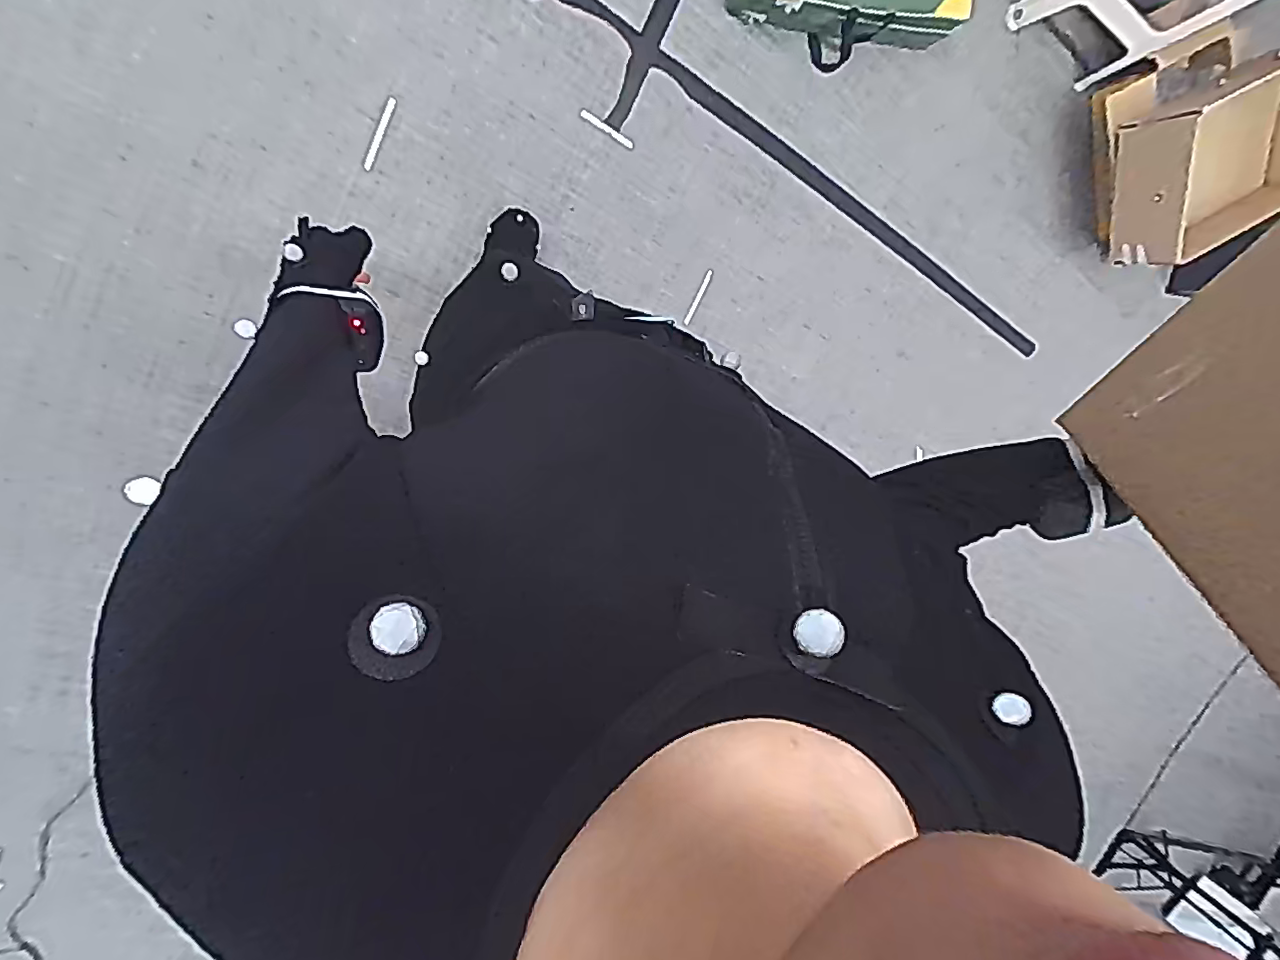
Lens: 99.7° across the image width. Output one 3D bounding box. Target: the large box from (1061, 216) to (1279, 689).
[{"bbox_3d":[0.461,0.010,0.188,0.320,0.408,0.320,35,126,1],"label":"large box"}]
